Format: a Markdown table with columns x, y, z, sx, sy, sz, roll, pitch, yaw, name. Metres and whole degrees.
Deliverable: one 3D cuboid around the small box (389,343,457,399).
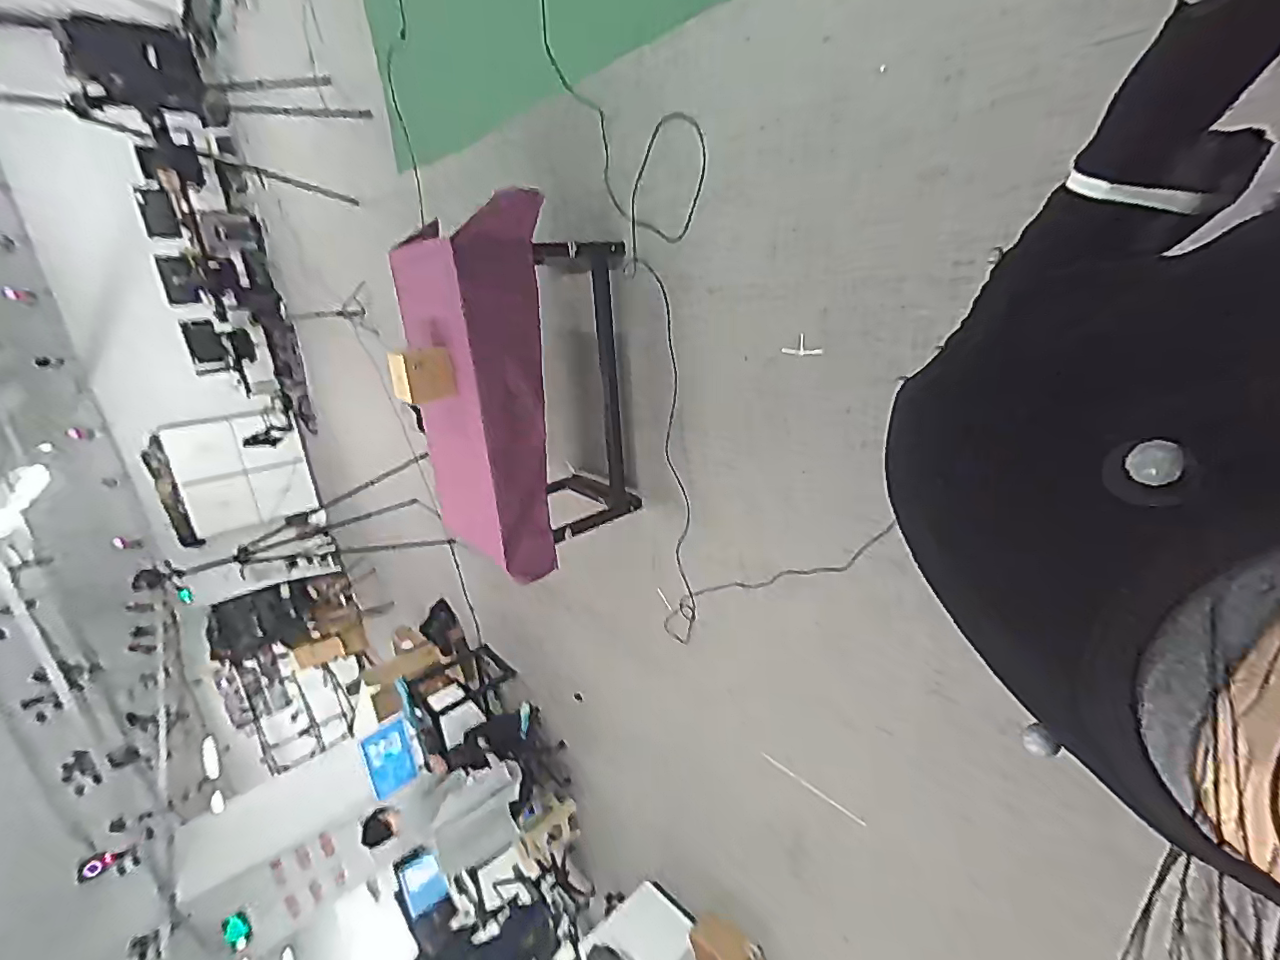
| x | y | z | sx | sy | sz | roll | pitch | yaw | name |
| --- | --- | --- | --- | --- | --- | --- | --- | --- | --- |
| -0.796 | -0.407 | 1.990 | 0.168 | 0.176 | 0.179 | 21 | 121 | 45 | small box |
